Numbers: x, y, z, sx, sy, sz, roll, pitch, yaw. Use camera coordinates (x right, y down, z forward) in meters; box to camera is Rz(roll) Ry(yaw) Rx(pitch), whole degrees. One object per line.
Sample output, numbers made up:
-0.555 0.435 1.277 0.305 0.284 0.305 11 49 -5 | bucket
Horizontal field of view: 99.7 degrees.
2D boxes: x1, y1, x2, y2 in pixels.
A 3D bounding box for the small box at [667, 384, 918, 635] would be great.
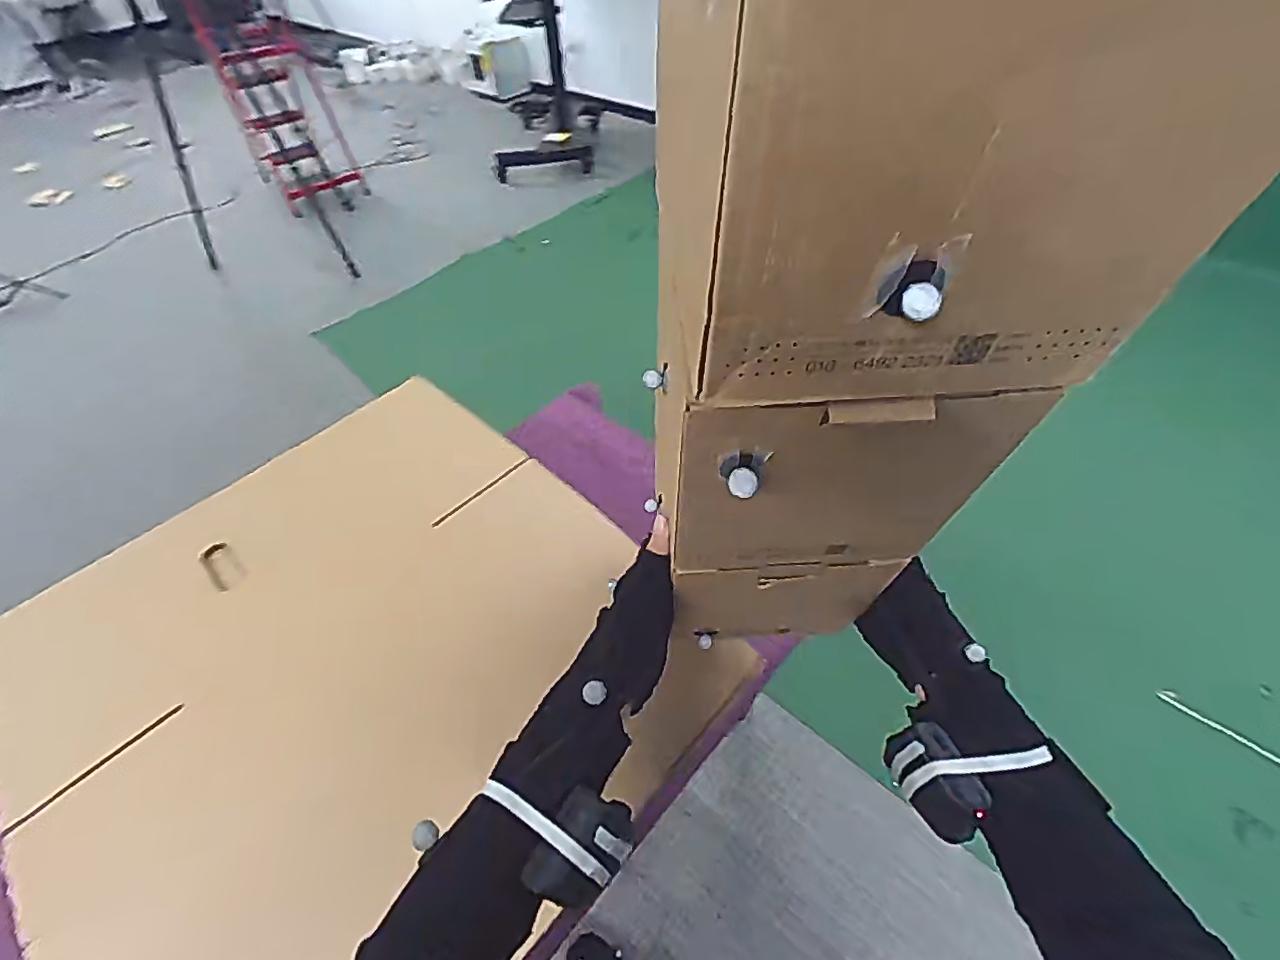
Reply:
0.110 0.032 0.480 0.168 0.176 0.179 -3 57 0 | small box
